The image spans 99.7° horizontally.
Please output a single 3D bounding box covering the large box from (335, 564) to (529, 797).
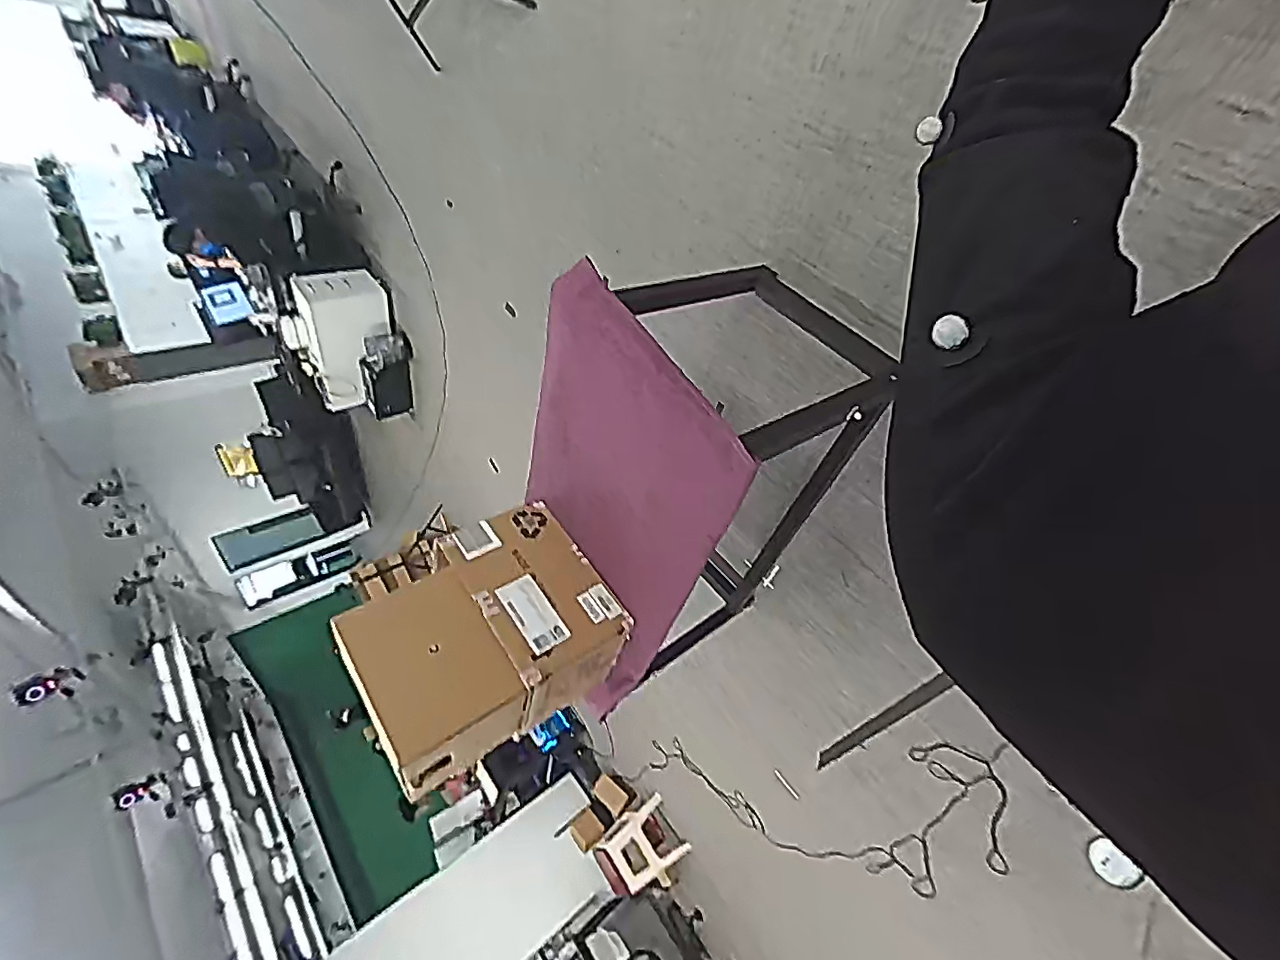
[{"bbox_3d":[-0.528,0.499,1.392,0.408,0.320,0.320,47,143,26],"label":"large box"}]
